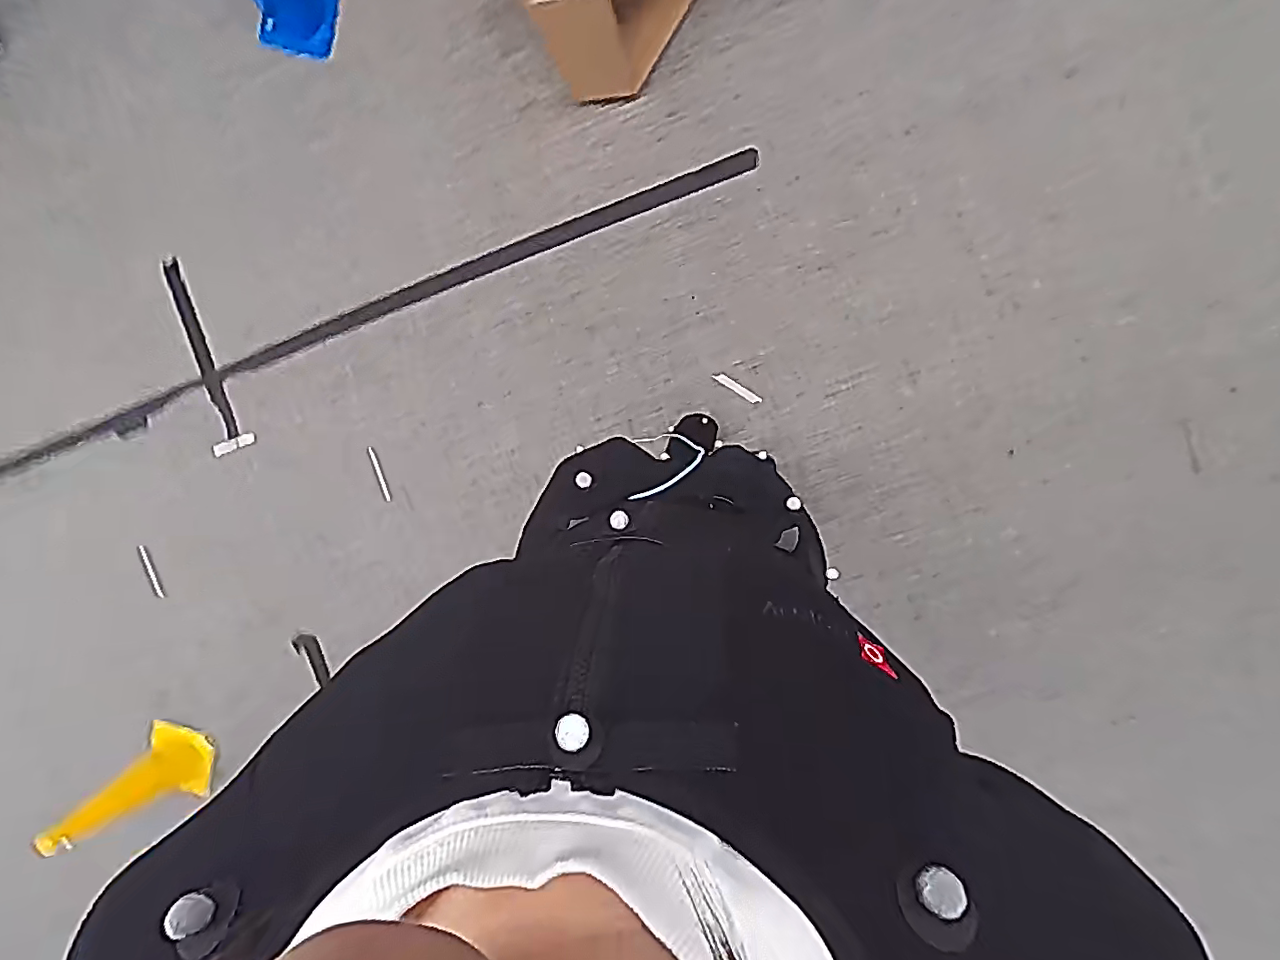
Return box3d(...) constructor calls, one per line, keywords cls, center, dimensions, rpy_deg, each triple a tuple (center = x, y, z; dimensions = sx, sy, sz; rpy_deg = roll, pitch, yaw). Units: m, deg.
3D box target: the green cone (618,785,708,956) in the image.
box3d(cls="green cone", center=(0.045, 0.998, 1.357), dimensions=(0.200, 0.368, 0.202), rpy_deg=(-33, 93, 9))
